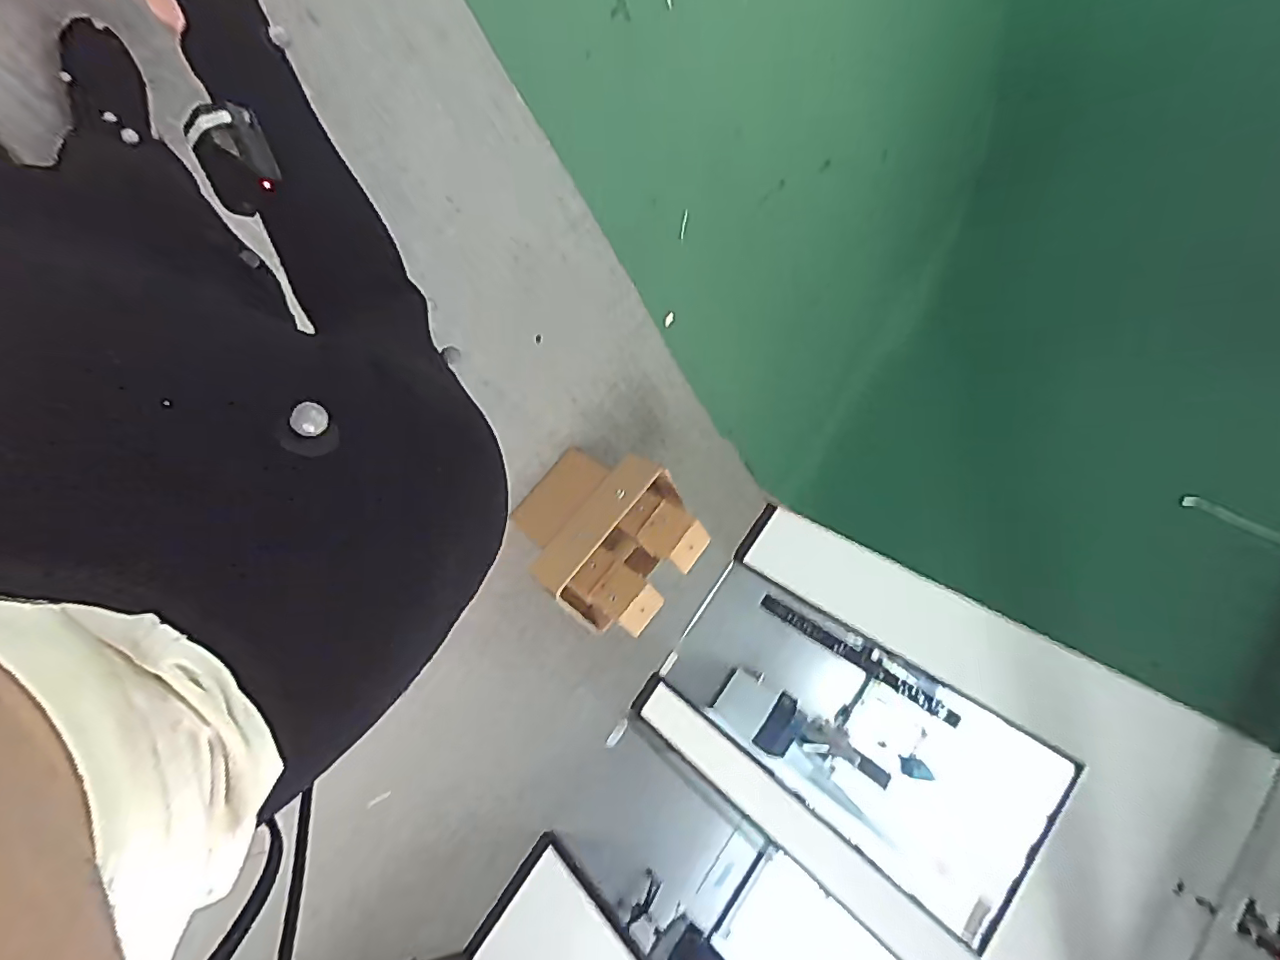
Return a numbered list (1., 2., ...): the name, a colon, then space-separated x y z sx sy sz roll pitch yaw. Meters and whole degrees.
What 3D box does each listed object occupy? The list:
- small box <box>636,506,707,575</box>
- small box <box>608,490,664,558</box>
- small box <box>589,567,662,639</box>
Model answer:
1. small box: 0.117 0.220 2.008 0.168 0.176 0.179 -52 142 -11
2. small box: 0.006 0.166 2.113 0.179 0.176 0.168 -51 142 -12
3. small box: -0.056 0.436 1.943 0.168 0.176 0.179 -49 143 -13
